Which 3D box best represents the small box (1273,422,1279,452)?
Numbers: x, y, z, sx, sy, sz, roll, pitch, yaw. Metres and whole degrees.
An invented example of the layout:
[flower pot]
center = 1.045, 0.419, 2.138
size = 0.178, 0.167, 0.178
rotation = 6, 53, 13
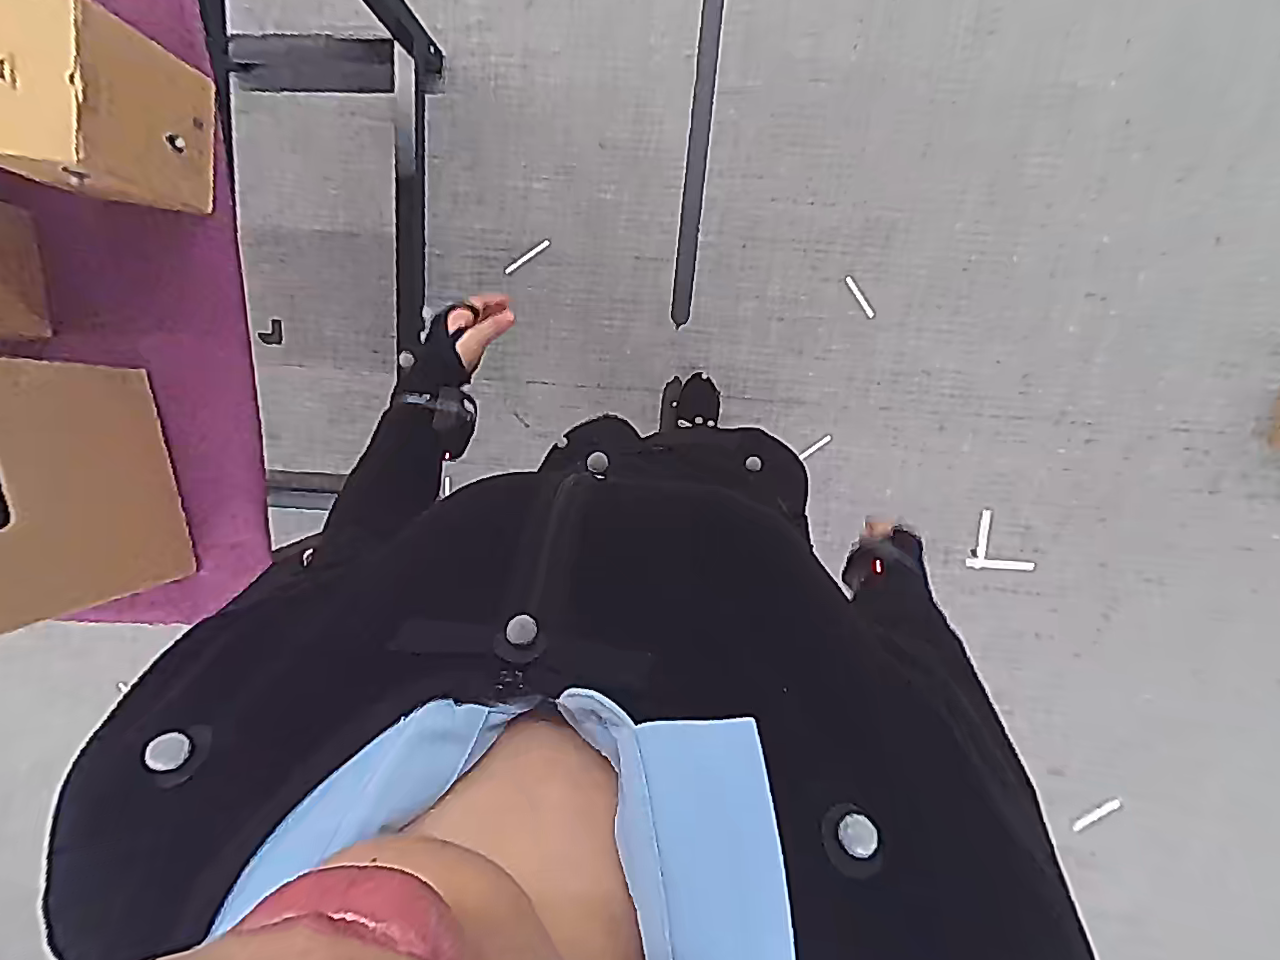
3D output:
[small box]
center = 1.637, -0.134, 1.238
size = 0.179, 0.176, 0.168
rotation = 1, 99, 4
